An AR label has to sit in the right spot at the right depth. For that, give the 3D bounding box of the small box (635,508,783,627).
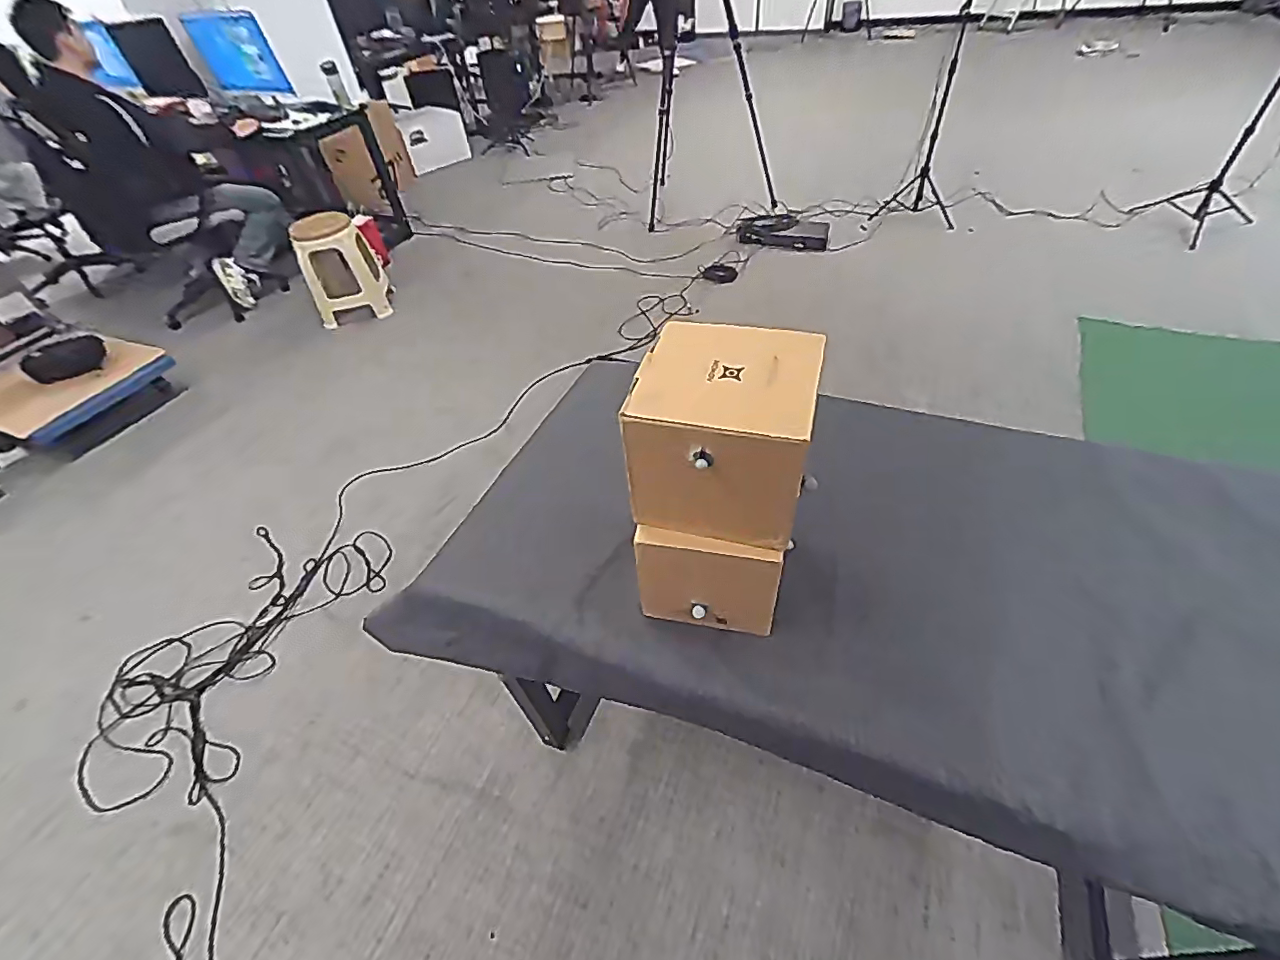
[{"bbox_3d":[0.097,0.063,0.704,0.168,0.176,0.179,7,49,13],"label":"small box"}]

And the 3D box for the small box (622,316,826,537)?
[{"bbox_3d":[0.094,-0.057,0.594,0.179,0.176,0.168,10,51,14],"label":"small box"}]
